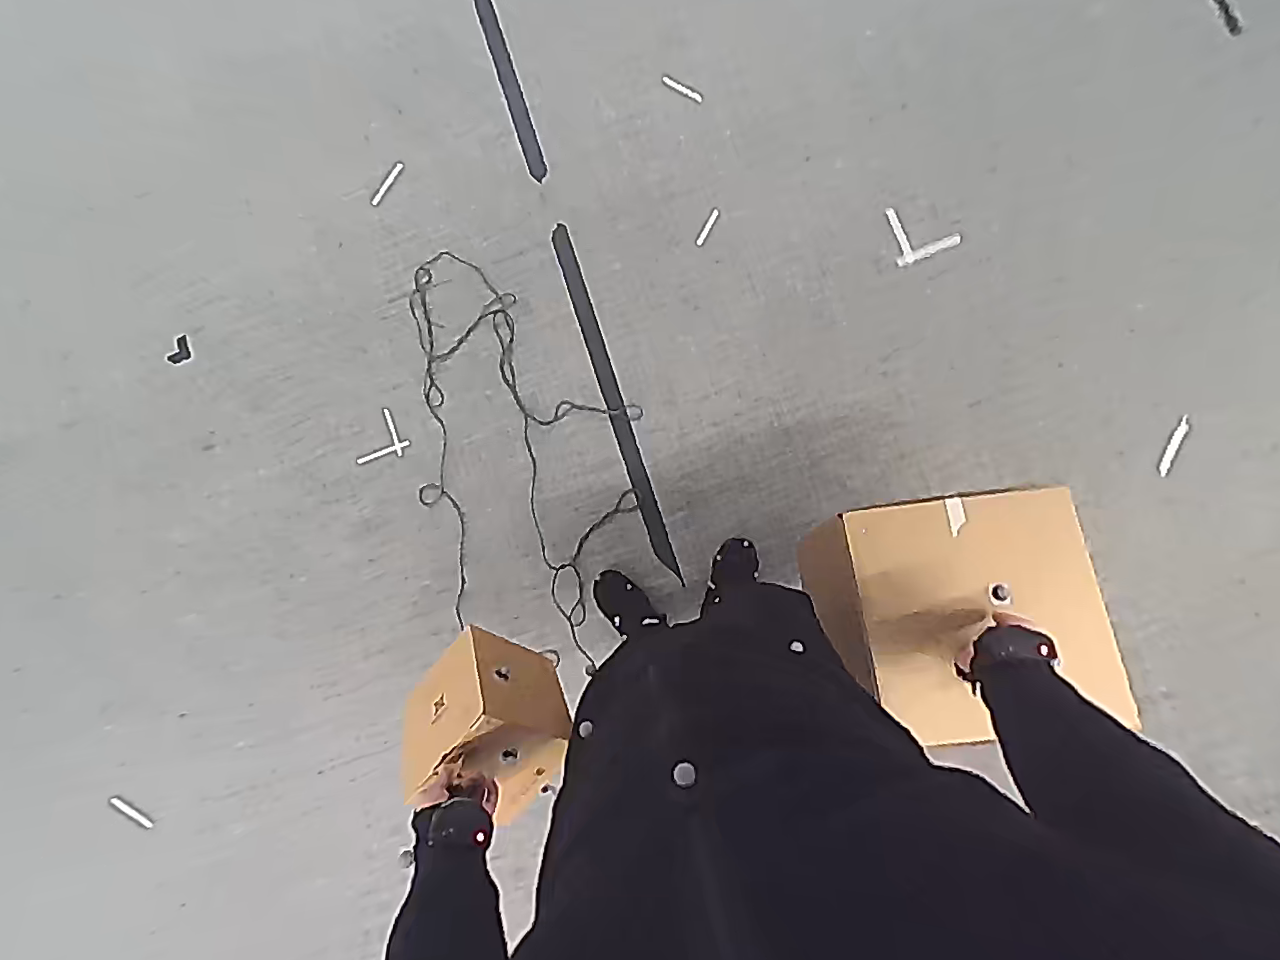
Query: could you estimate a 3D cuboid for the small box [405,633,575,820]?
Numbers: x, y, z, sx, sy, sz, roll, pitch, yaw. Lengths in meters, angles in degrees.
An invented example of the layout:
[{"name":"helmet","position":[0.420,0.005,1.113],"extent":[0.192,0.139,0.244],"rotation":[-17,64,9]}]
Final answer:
[{"name":"small box","position":[-0.219,0.362,0.789],"extent":[0.176,0.179,0.168],"rotation":[37,96,-33]}]
